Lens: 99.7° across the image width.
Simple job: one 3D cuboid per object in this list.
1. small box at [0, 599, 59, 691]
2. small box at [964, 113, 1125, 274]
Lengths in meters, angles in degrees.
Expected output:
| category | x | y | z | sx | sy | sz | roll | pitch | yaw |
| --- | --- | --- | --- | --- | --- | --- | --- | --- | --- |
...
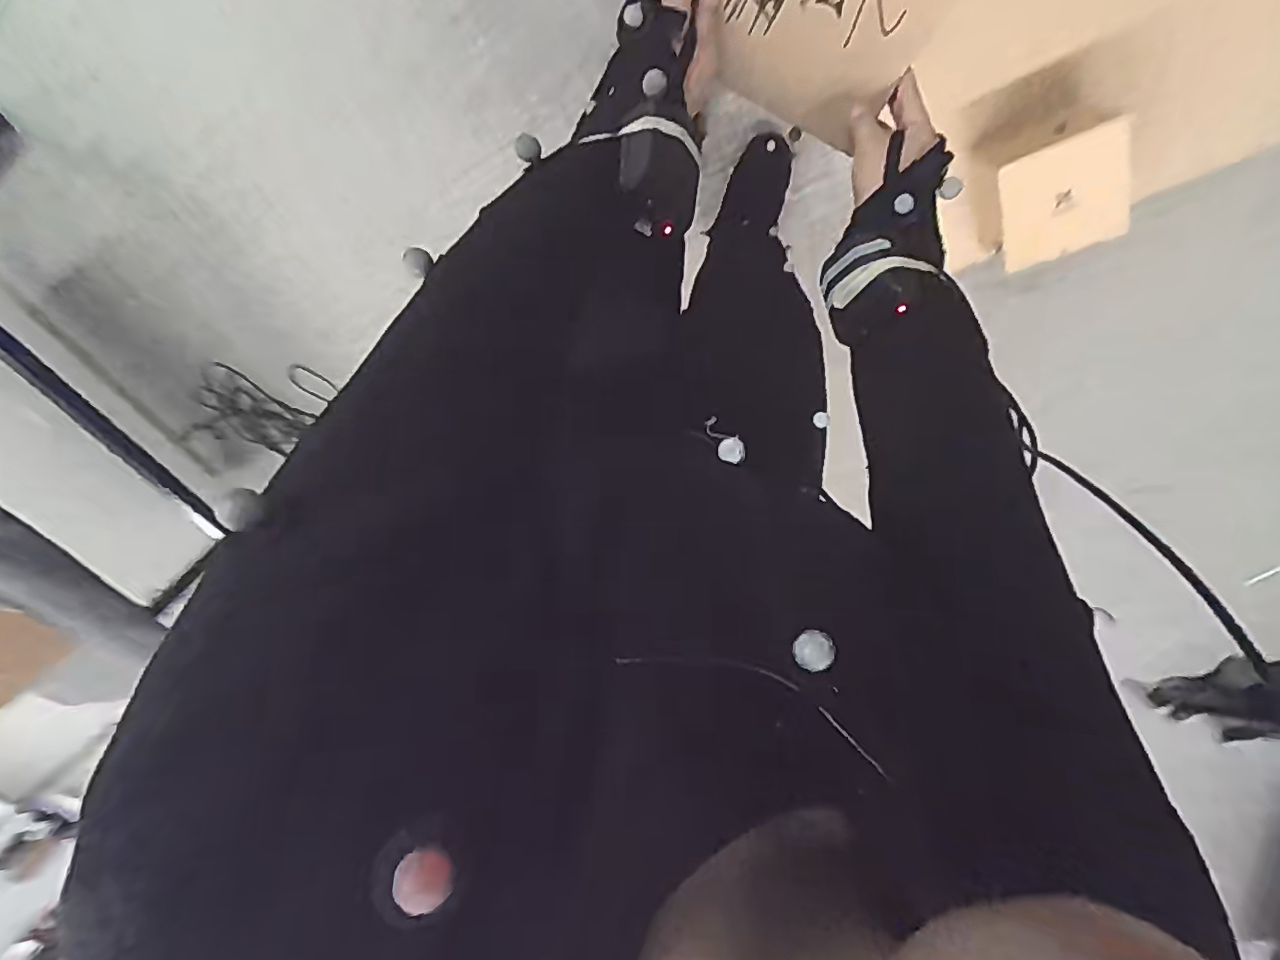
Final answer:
| category | x | y | z | sx | sy | sz | roll | pitch | yaw |
| --- | --- | --- | --- | --- | --- | --- | --- | --- | --- |
| small box | -1.402 | 0.359 | 1.130 | 0.168 | 0.176 | 0.179 | -16 | 123 | 23 |
| small box | 0.656 | -0.476 | 0.892 | 0.168 | 0.176 | 0.179 | -15 | 125 | 23 |
